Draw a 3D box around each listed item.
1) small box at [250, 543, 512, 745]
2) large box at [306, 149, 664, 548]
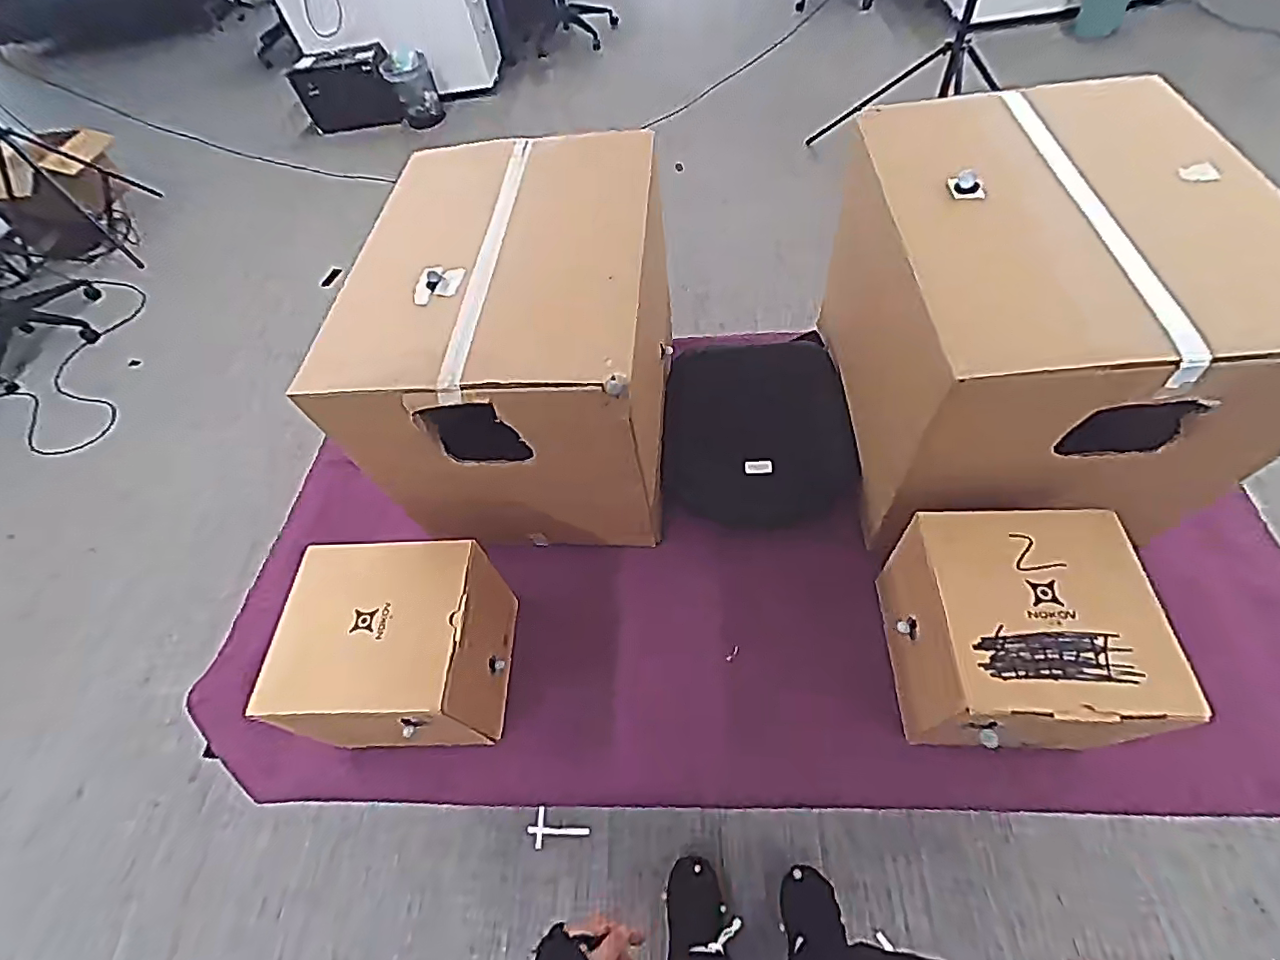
[{"bbox_3d":[-0.252,0.181,0.579,0.179,0.176,0.168,-3,56,2],"label":"small box"},{"bbox_3d":[-0.133,-0.154,0.701,0.320,0.320,0.408,-1,60,8],"label":"large box"}]
